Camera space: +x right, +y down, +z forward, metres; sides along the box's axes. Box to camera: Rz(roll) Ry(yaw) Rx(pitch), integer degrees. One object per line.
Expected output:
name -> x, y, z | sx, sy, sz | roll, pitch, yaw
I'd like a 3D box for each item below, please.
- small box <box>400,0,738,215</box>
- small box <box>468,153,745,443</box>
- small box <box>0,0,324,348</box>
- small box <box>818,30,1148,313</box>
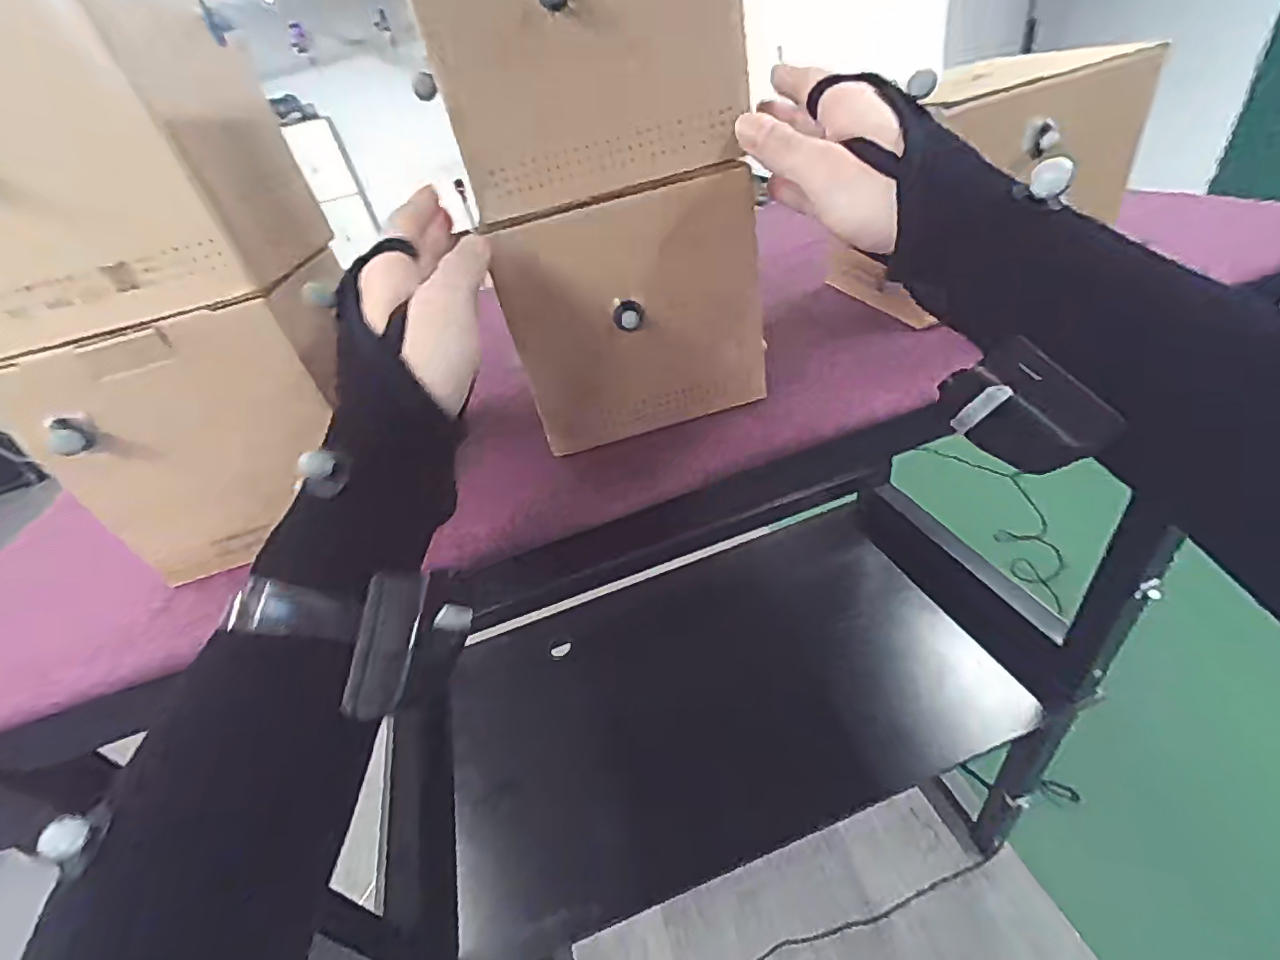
small box -> -0.052, -0.289, 0.353 | 0.179, 0.176, 0.168 | -19, 36, -4
small box -> -0.021, -0.157, 0.444 | 0.179, 0.176, 0.168 | -17, 36, -2
small box -> -0.329, -0.195, 0.327 | 0.168, 0.176, 0.179 | -17, 36, -3
small box -> 0.280, -0.269, 0.487 | 0.179, 0.176, 0.168 | -17, 37, -2
